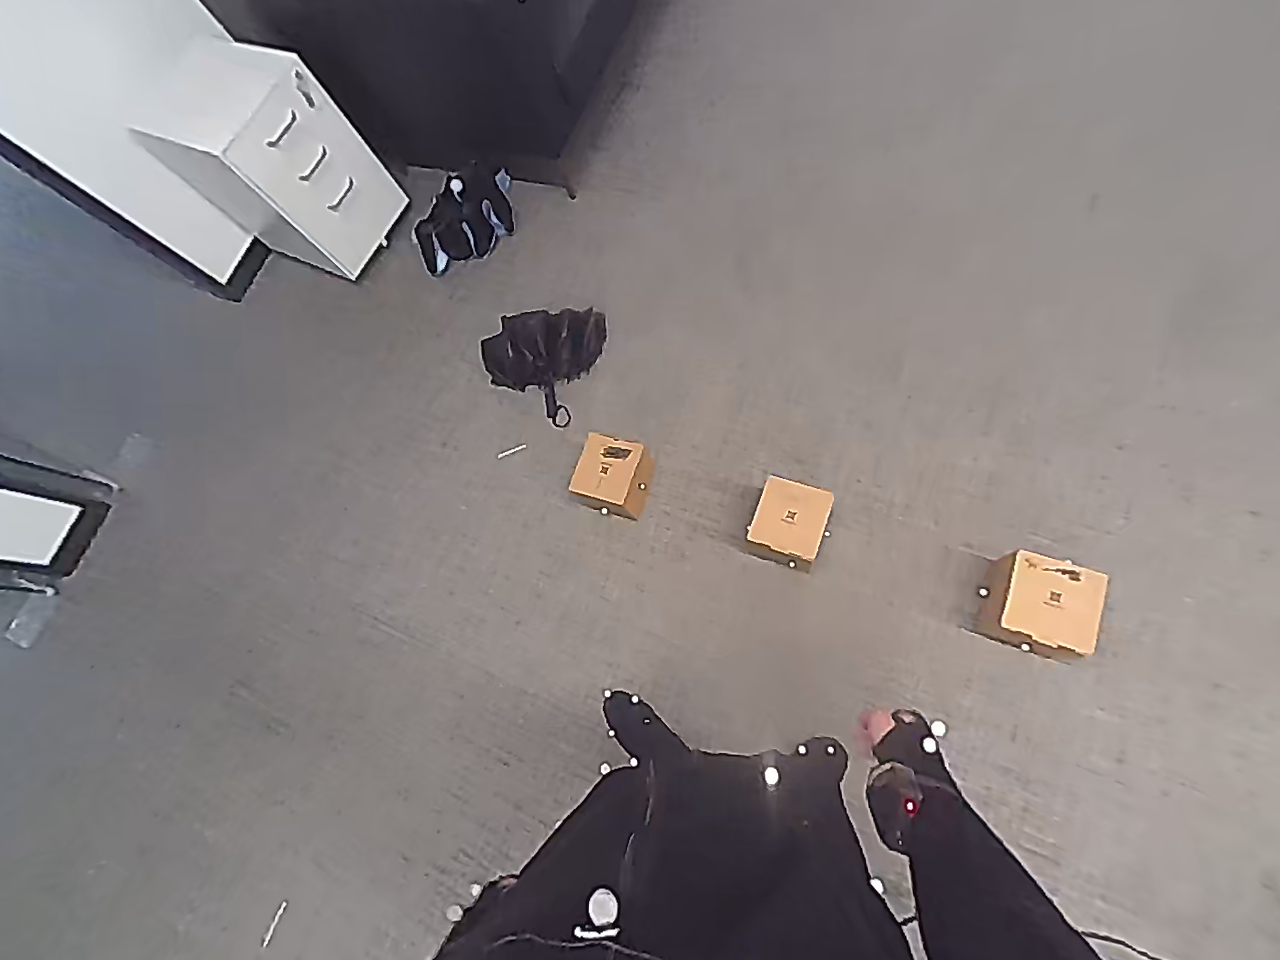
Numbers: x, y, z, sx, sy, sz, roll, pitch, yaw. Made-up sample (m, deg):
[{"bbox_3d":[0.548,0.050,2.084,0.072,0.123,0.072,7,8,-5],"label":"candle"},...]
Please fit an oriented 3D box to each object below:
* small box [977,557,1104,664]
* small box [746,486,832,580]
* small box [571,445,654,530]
[{"bbox_3d":[0.871,0.293,1.194,0.168,0.176,0.179,17,76,20],"label":"small box"},{"bbox_3d":[0.379,0.140,1.378,0.168,0.176,0.179,16,74,18],"label":"small box"},{"bbox_3d":[-0.068,0.025,1.529,0.168,0.176,0.179,14,76,19],"label":"small box"}]
